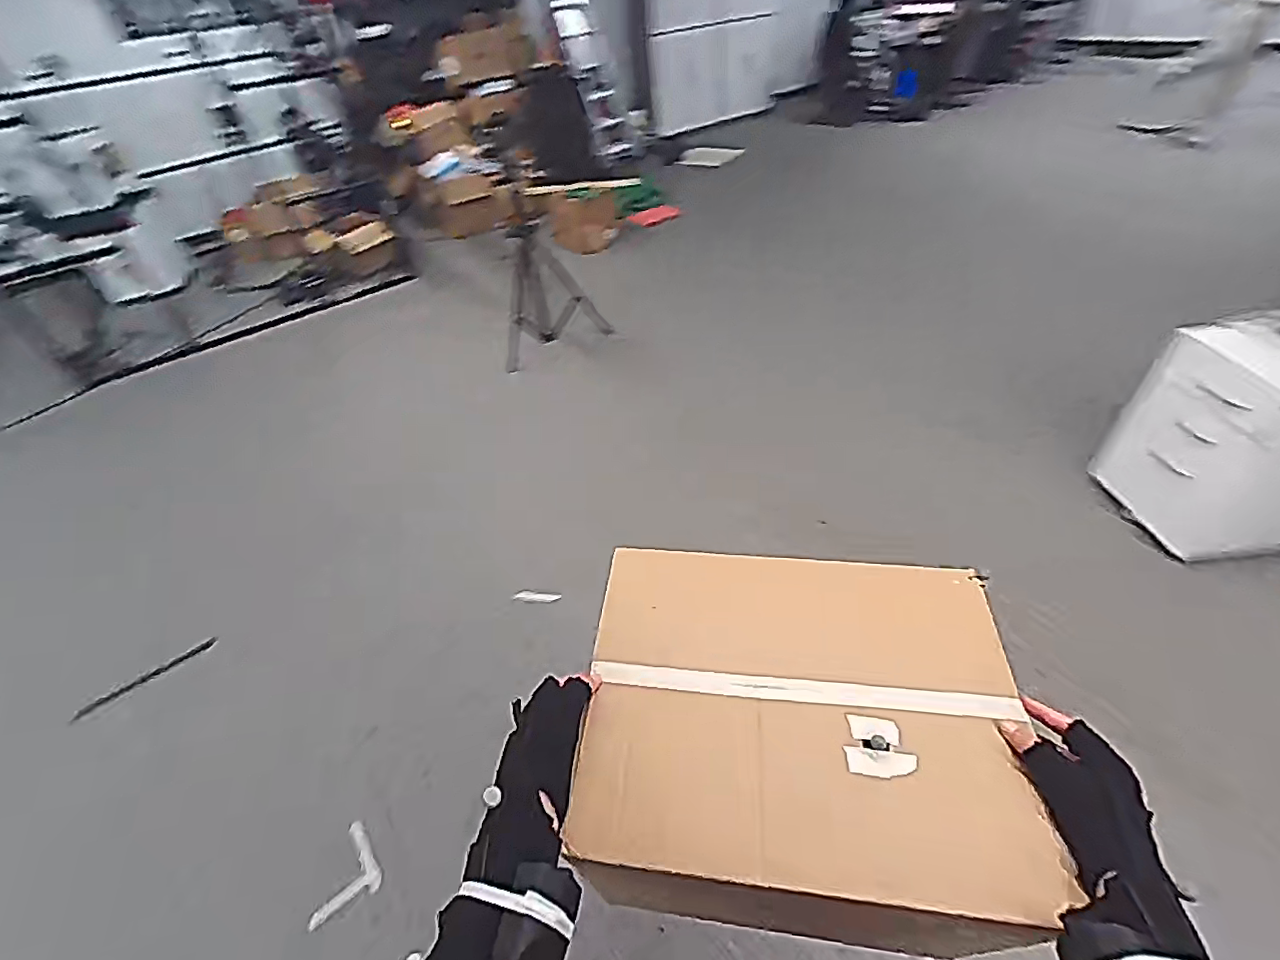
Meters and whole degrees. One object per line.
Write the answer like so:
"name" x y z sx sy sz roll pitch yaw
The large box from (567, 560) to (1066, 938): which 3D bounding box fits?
"large box" 0.155 0.314 0.644 0.408 0.320 0.320 2 47 7
